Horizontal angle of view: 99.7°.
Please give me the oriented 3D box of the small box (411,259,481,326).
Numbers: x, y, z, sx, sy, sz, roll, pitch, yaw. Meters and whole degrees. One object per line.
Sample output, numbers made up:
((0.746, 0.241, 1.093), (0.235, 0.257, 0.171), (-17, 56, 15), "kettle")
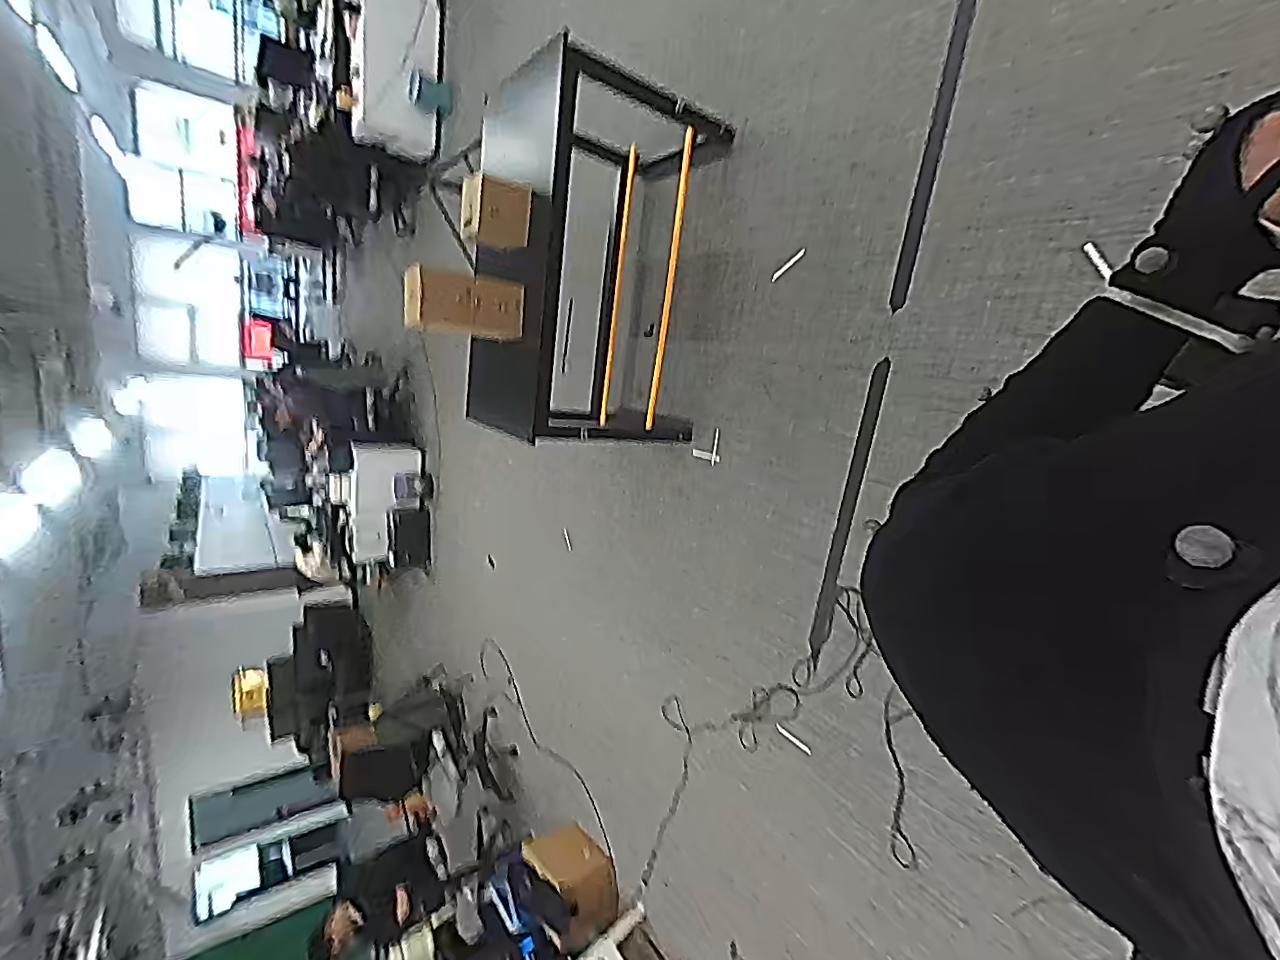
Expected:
((-0.617, -0.589, 1.718), (0.179, 0.176, 0.168), (14, 103, 52), "small box")

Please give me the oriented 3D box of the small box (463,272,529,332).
((-0.483, -0.592, 1.815), (0.179, 0.176, 0.168), (16, 105, 51), "small box")

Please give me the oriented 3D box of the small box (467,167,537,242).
((-0.446, -0.883, 1.753), (0.168, 0.176, 0.179), (24, 110, 50), "small box")
